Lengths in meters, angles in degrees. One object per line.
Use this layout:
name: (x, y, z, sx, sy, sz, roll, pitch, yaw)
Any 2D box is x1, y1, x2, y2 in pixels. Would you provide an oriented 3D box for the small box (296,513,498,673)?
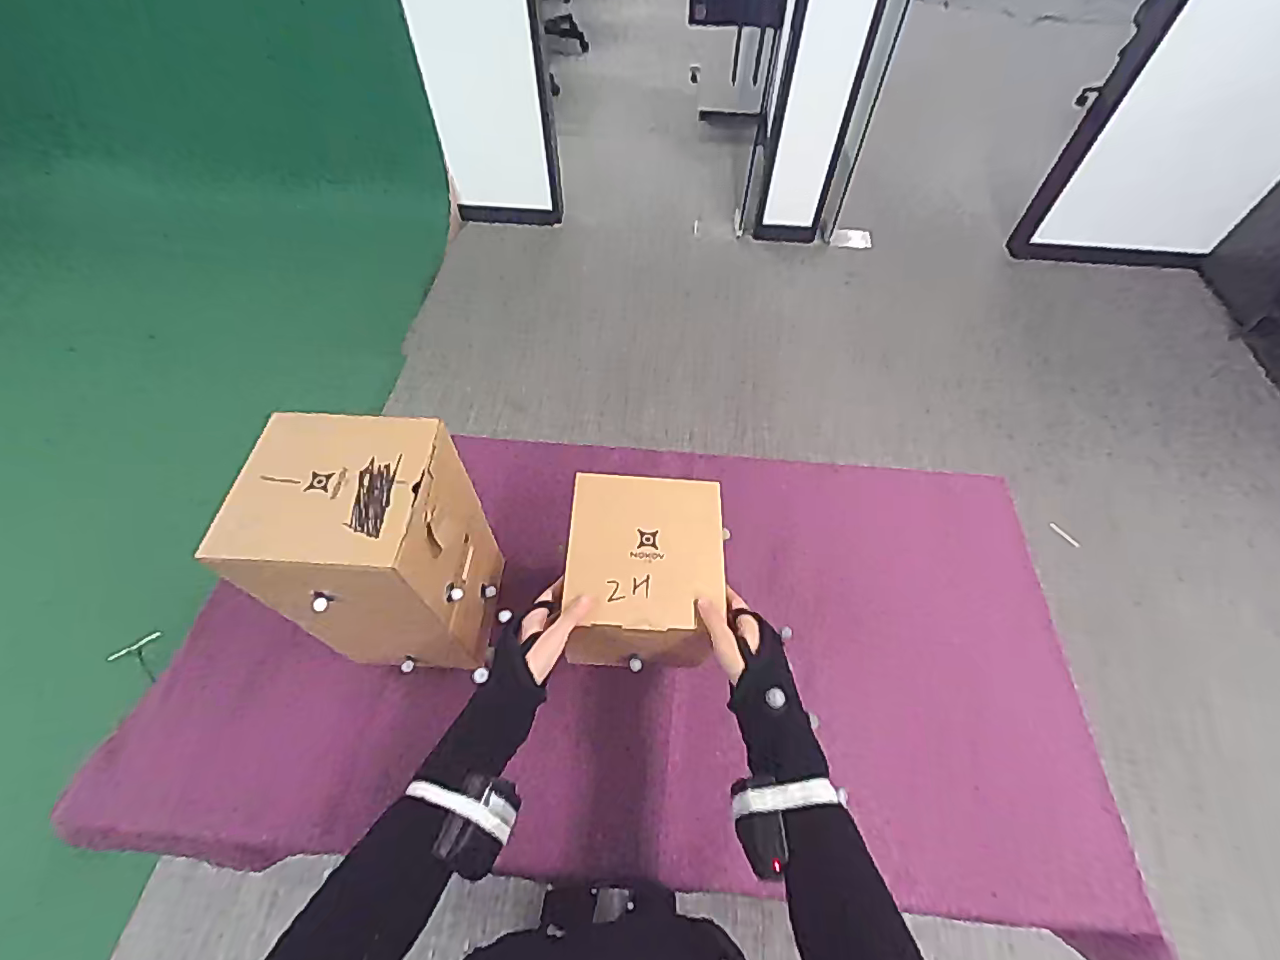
small box: (-0.297, 0.148, 0.713, 0.179, 0.176, 0.168, 3, 56, 0)

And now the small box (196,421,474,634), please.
small box: (-0.294, 0.056, 0.575, 0.179, 0.176, 0.168, 2, 56, 2)

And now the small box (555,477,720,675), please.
small box: (-0.004, 0.117, 0.636, 0.168, 0.176, 0.179, 4, 60, -2)
